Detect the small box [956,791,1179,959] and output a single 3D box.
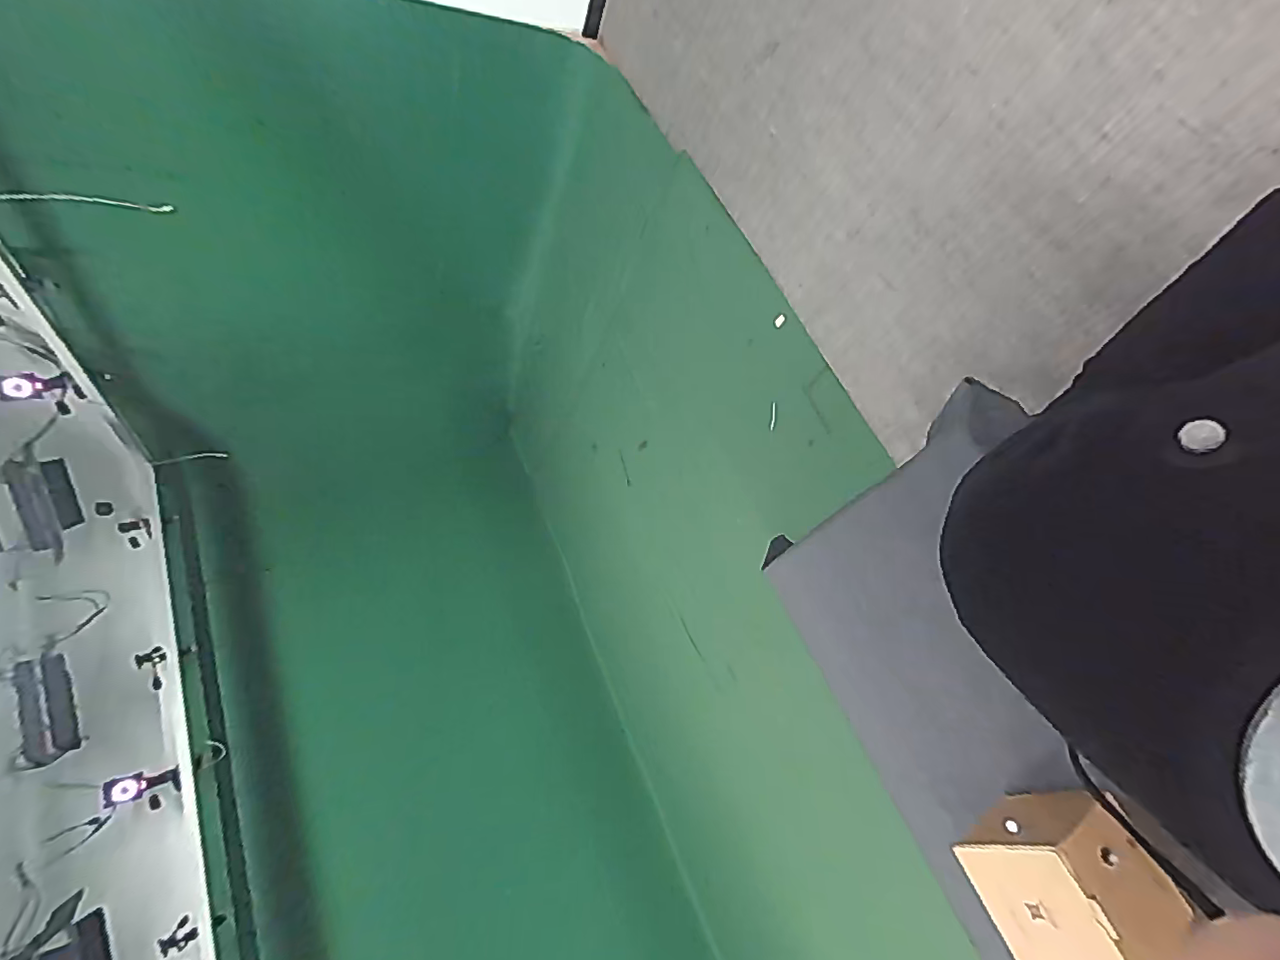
[{"bbox_3d":[0.623,0.578,0.789,0.168,0.176,0.179,65,149,22],"label":"small box"}]
